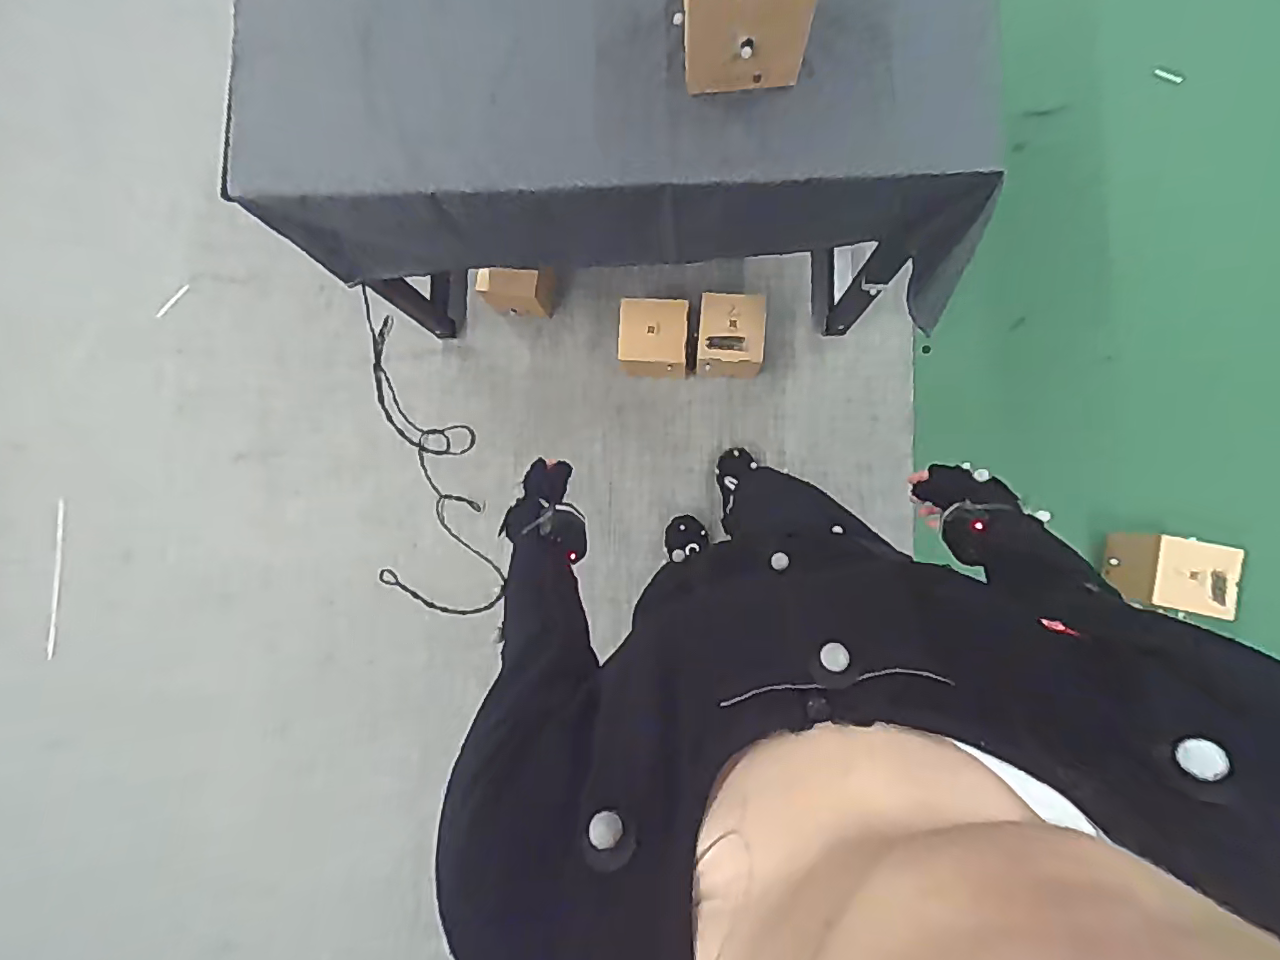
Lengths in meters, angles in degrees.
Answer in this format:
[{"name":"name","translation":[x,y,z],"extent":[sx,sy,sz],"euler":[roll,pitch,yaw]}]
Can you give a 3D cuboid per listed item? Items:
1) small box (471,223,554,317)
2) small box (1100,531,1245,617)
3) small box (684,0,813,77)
[{"name":"small box","translation":[-0.342,-0.571,1.484],"extent":[0.168,0.176,0.179],"euler":[9,86,6]},{"name":"small box","translation":[1.276,0.219,1.307],"extent":[0.179,0.176,0.168],"euler":[11,86,6]},{"name":"small box","translation":[0.143,-0.682,0.728],"extent":[0.168,0.176,0.179],"euler":[-2,86,4]}]
